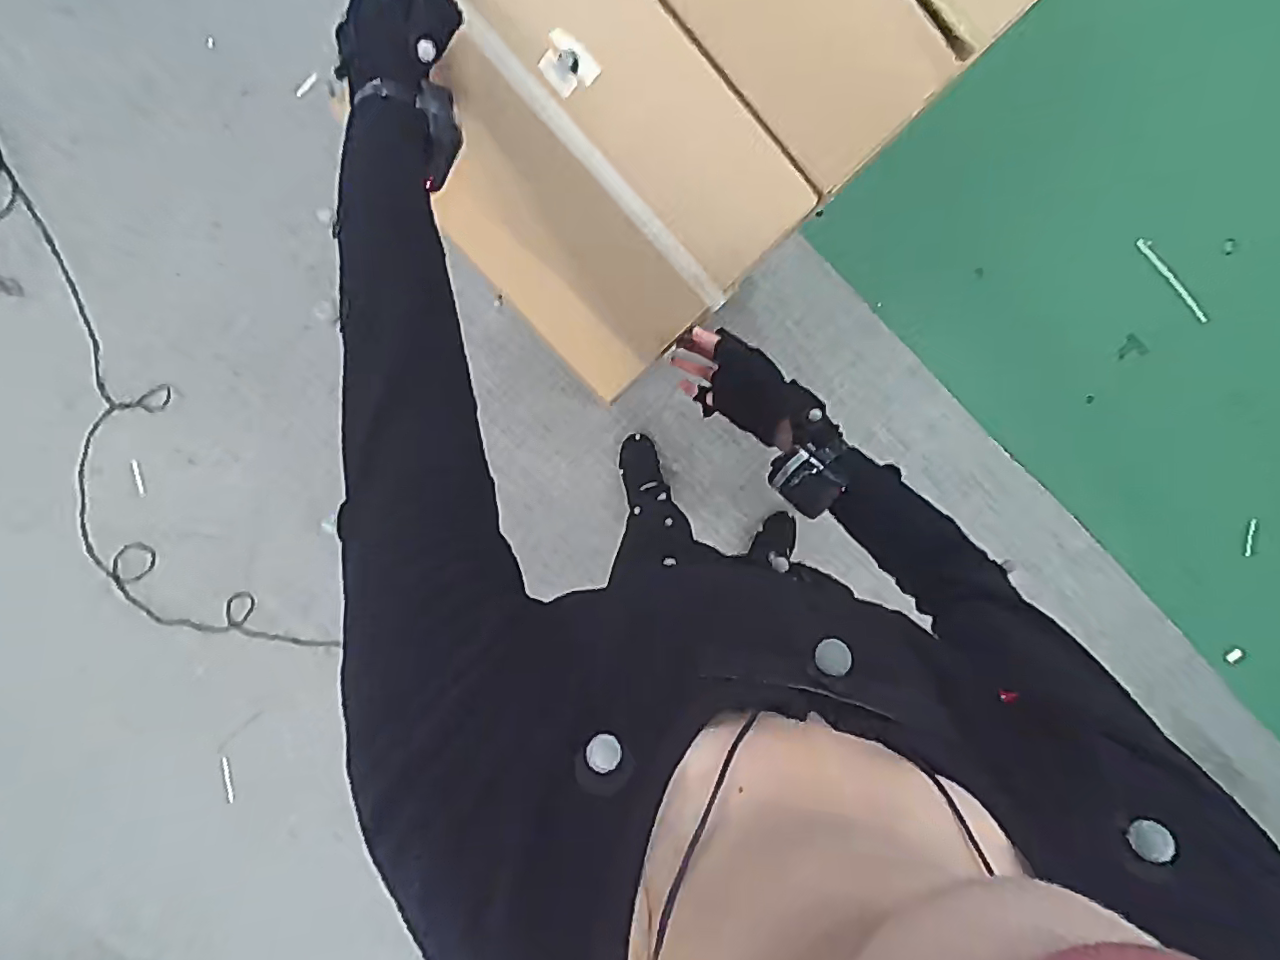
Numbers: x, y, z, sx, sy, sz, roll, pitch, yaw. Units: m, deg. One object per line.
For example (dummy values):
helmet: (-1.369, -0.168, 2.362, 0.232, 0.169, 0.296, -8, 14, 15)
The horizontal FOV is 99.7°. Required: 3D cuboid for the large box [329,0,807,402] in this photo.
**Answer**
large box: (-0.071, -0.350, 0.701, 0.320, 0.320, 0.408, -44, 96, 2)
